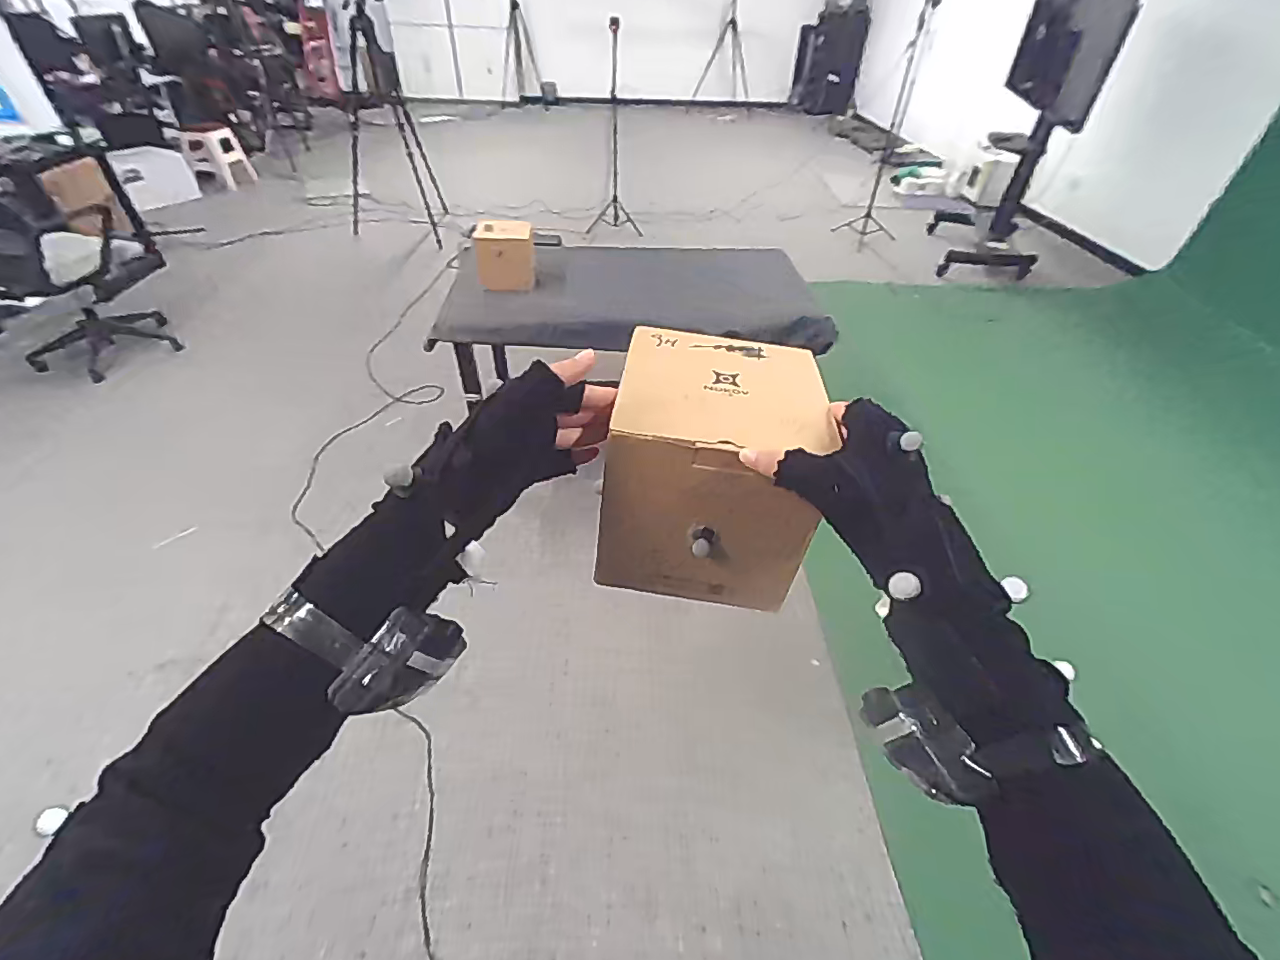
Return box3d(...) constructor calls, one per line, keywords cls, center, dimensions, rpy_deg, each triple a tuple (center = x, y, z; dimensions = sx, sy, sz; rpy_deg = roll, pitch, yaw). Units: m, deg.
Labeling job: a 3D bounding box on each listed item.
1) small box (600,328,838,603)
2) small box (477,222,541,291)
box3d(cls="small box", center=(0.058, -0.013, 0.485), dimensions=(0.168, 0.176, 0.179), rpy_deg=(8, 41, 0))
box3d(cls="small box", center=(-0.428, -0.740, 1.792), dimensions=(0.179, 0.176, 0.168), rpy_deg=(-1, 43, -5))
